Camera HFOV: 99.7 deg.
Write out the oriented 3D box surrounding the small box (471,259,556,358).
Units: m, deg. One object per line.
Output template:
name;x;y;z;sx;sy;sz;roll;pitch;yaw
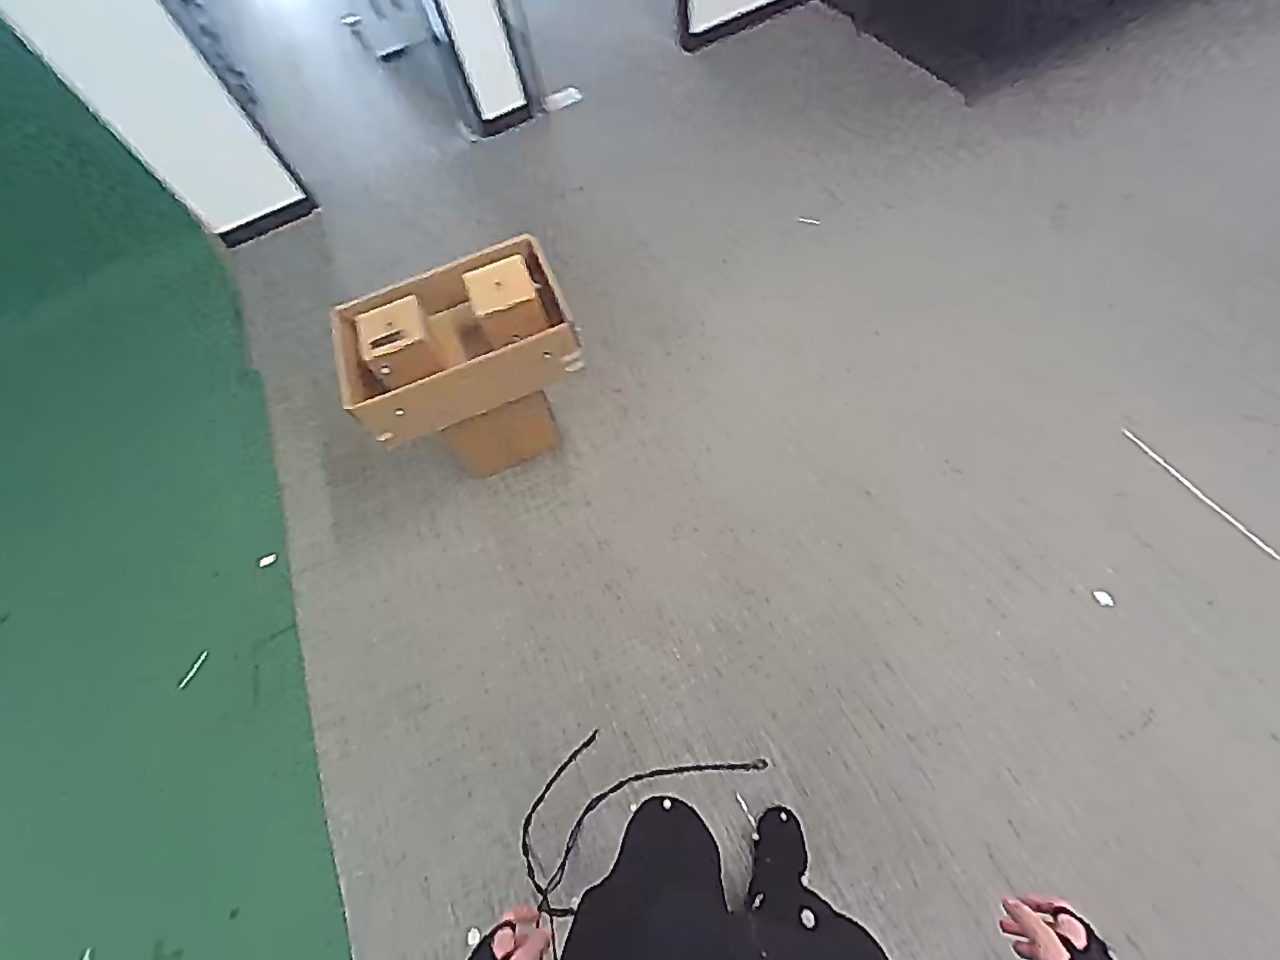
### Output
small box;-0.353;-0.477;1.519;0.168;0.176;0.179;-22;62;-3
